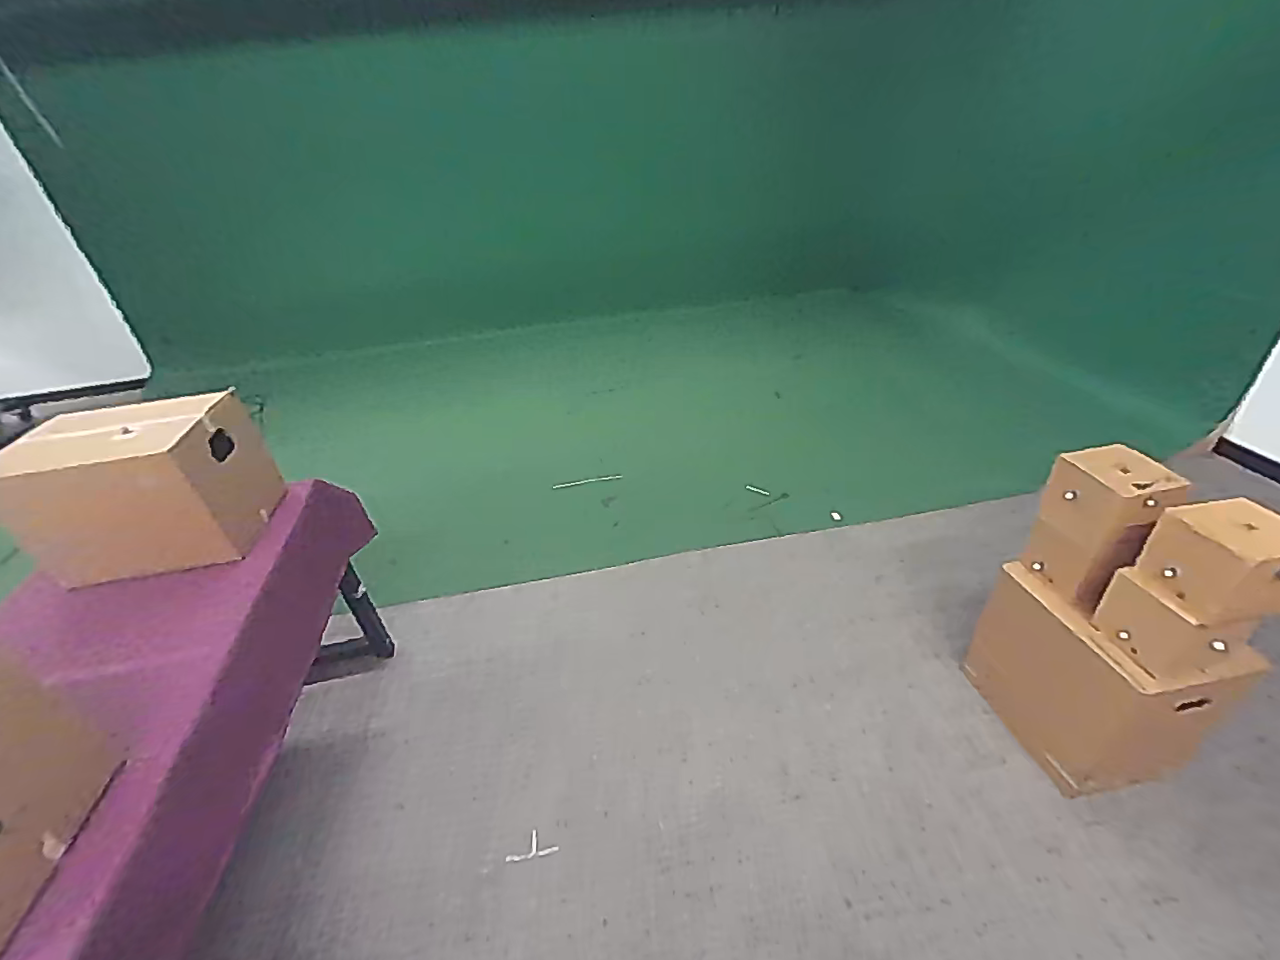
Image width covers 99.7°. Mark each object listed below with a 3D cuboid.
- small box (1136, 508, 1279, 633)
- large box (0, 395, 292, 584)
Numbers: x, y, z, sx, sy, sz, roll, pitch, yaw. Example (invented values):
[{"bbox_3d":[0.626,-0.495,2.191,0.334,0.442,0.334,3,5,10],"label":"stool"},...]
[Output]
[{"bbox_3d":[1.153,0.179,1.069,0.179,0.176,0.168,-8,32,-3],"label":"small box"},{"bbox_3d":[-1.170,0.015,1.319,0.408,0.320,0.320,-8,34,-6],"label":"large box"}]
